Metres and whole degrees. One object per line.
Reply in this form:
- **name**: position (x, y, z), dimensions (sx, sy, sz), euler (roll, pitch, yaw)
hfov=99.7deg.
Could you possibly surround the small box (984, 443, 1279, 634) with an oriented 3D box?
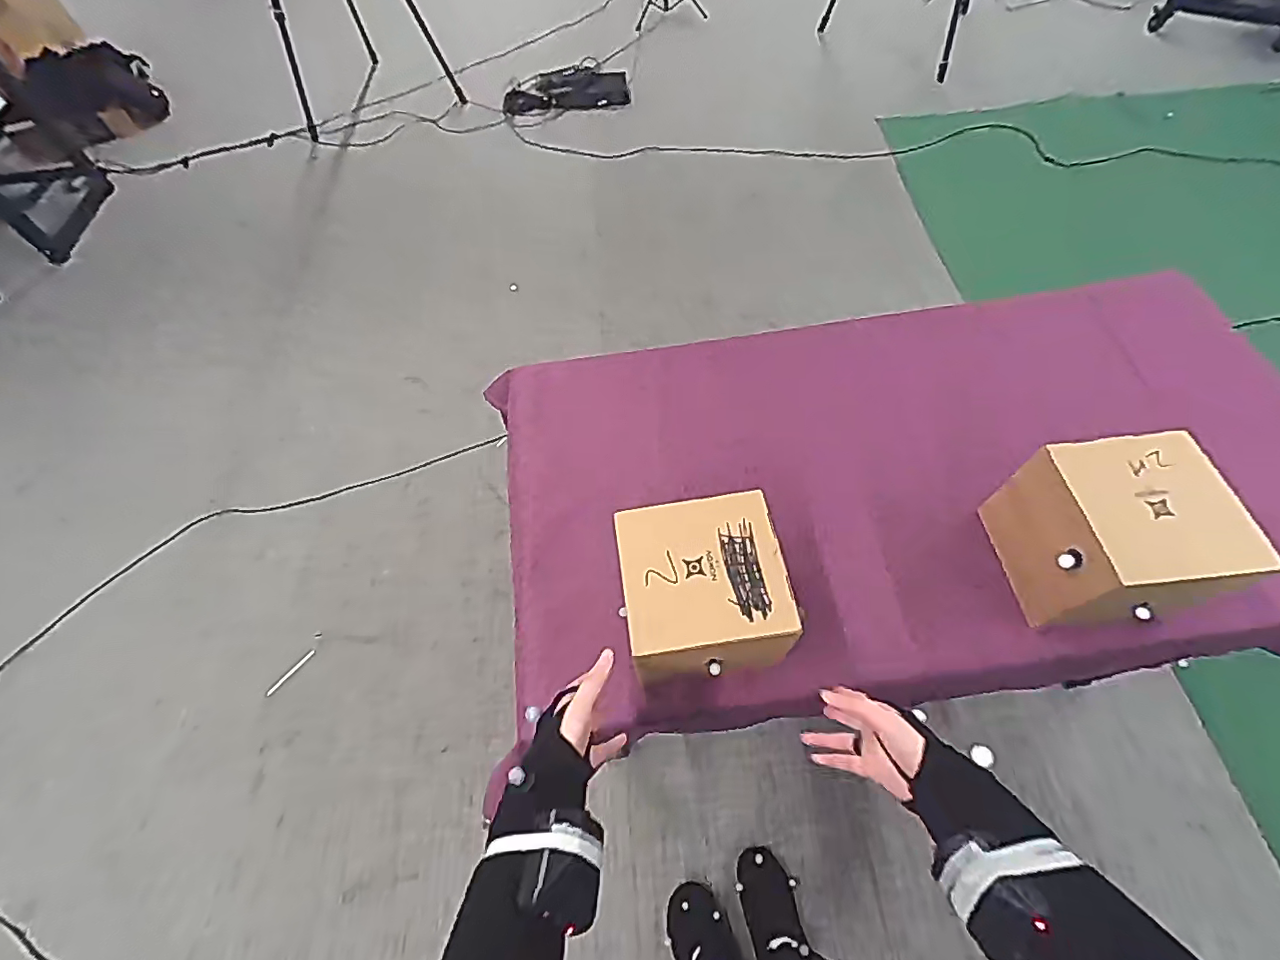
- **small box**: position (0.563, 0.079, 0.652), dimensions (0.168, 0.176, 0.179), euler (-5, 58, 0)
